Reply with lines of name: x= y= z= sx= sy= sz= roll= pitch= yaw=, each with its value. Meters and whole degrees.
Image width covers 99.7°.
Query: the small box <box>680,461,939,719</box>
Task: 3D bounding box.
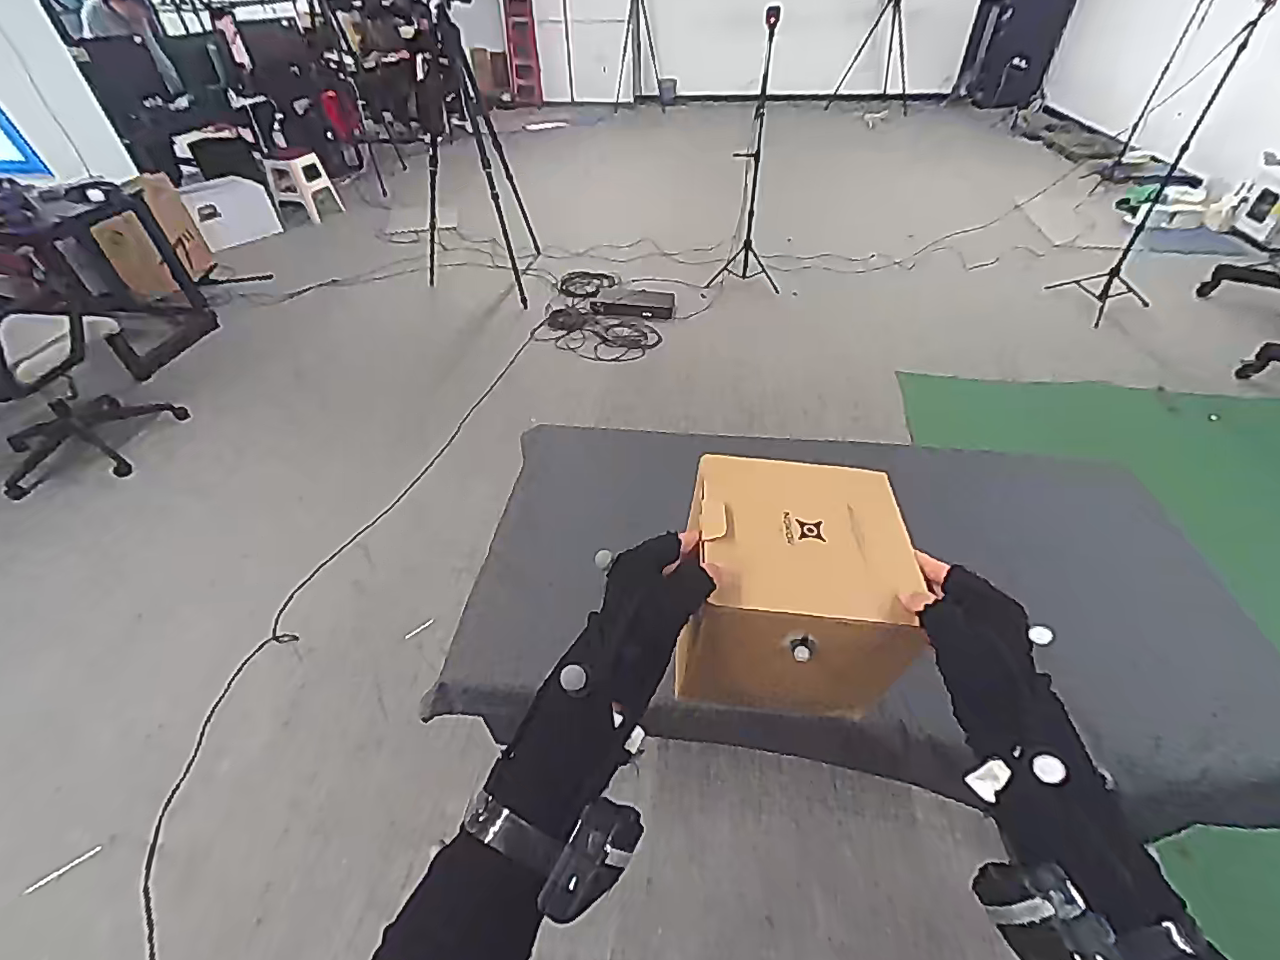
small box: x=0.133 y=0.105 z=0.505 sx=0.179 sy=0.176 sz=0.168 roll=7 pitch=45 yaw=-1
